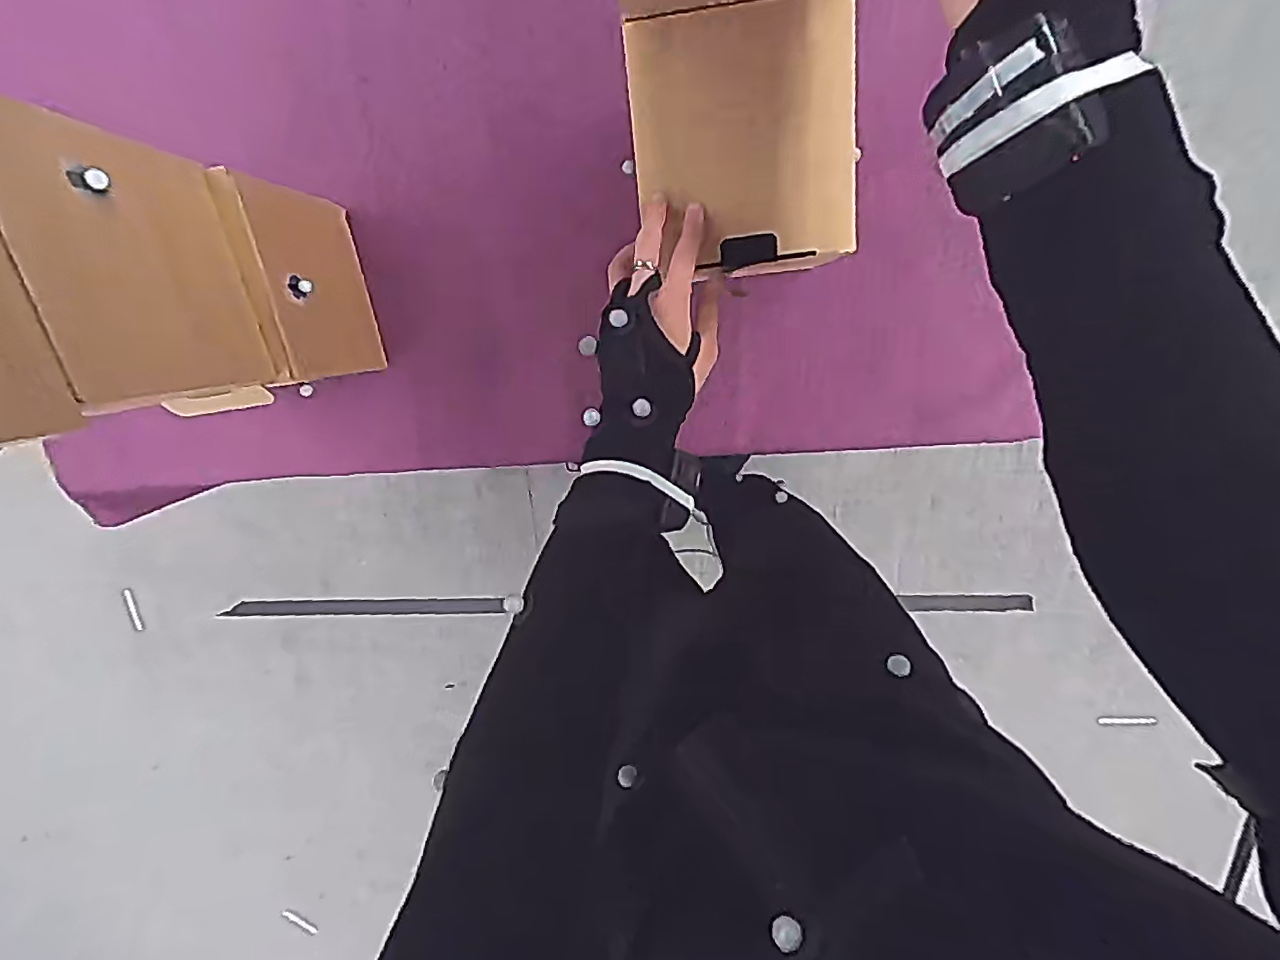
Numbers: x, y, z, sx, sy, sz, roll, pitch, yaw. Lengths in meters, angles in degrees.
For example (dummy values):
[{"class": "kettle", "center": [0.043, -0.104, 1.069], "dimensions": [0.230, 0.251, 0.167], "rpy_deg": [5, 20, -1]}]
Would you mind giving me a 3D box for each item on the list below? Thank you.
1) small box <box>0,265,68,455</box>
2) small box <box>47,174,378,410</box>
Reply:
[{"class": "small box", "center": [-0.426, -0.074, 0.225], "dimensions": [0.168, 0.176, 0.179], "rpy_deg": [-9, 105, 7]}, {"class": "small box", "center": [-0.393, -0.178, 0.538], "dimensions": [0.168, 0.176, 0.179], "rpy_deg": [-7, 106, 5]}]
